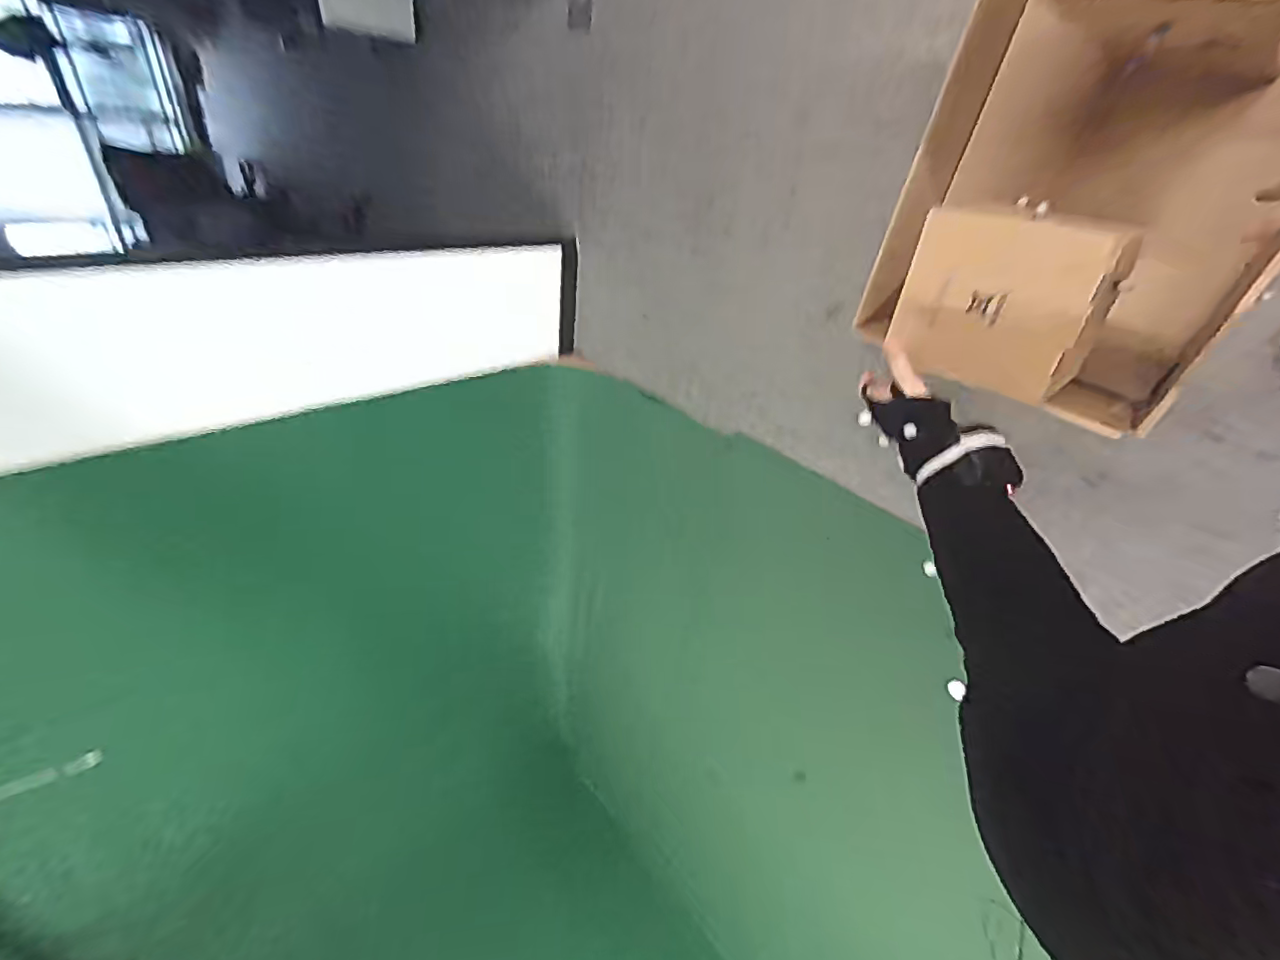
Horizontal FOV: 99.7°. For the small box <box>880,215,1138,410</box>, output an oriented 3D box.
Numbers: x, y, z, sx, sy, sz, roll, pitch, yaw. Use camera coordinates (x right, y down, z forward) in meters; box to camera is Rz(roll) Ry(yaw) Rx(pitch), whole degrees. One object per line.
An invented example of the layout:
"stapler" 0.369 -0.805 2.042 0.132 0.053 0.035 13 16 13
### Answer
"small box" 0.420 -0.202 0.622 0.179 0.176 0.168 34 130 36
